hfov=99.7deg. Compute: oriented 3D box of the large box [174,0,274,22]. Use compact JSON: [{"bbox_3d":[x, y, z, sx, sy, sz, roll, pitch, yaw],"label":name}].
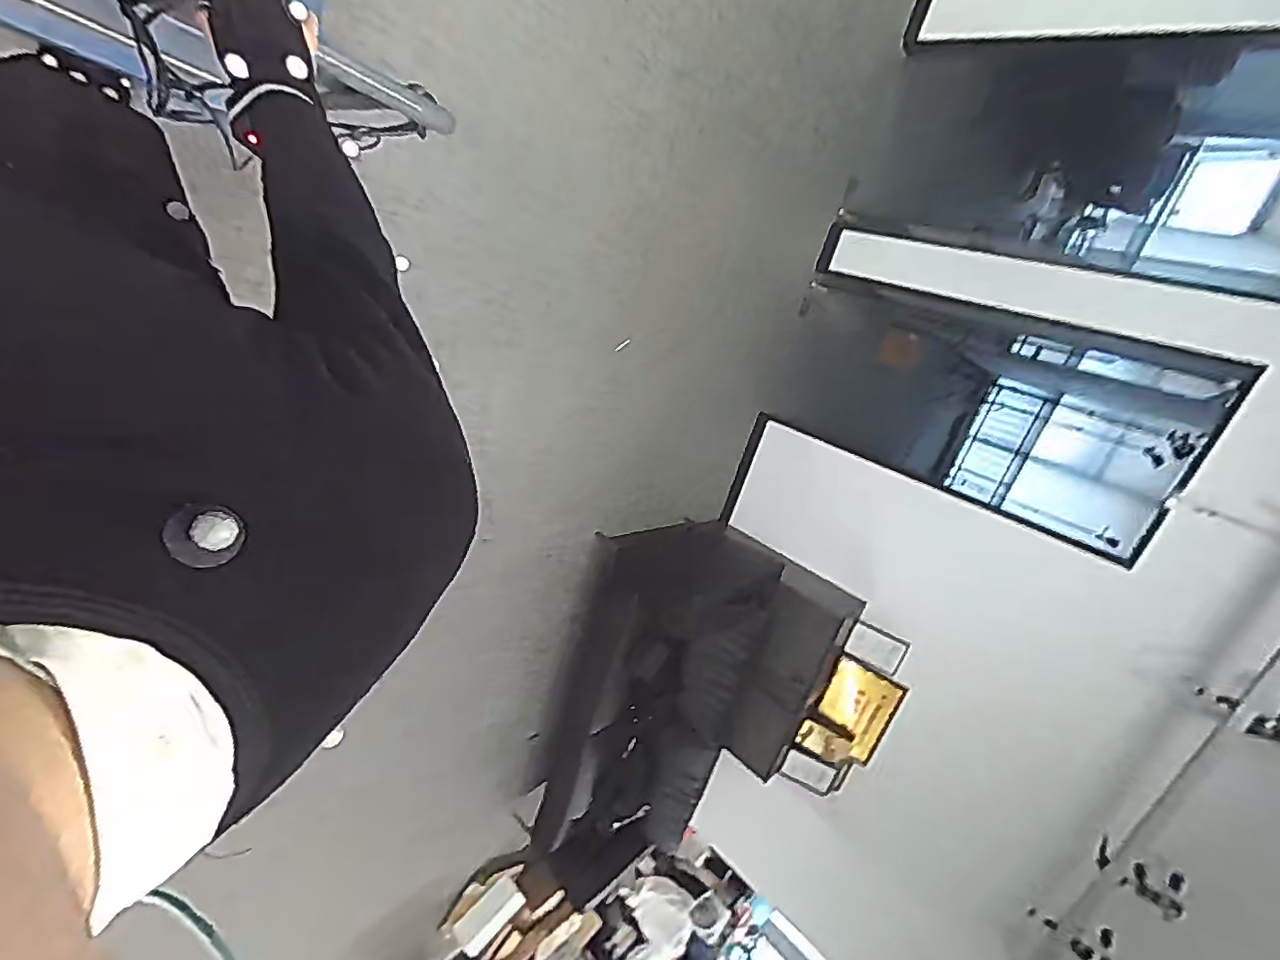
[{"bbox_3d":[-0.690,-0.943,0.725,0.320,0.320,0.408,1,114,-53],"label":"large box"}]
